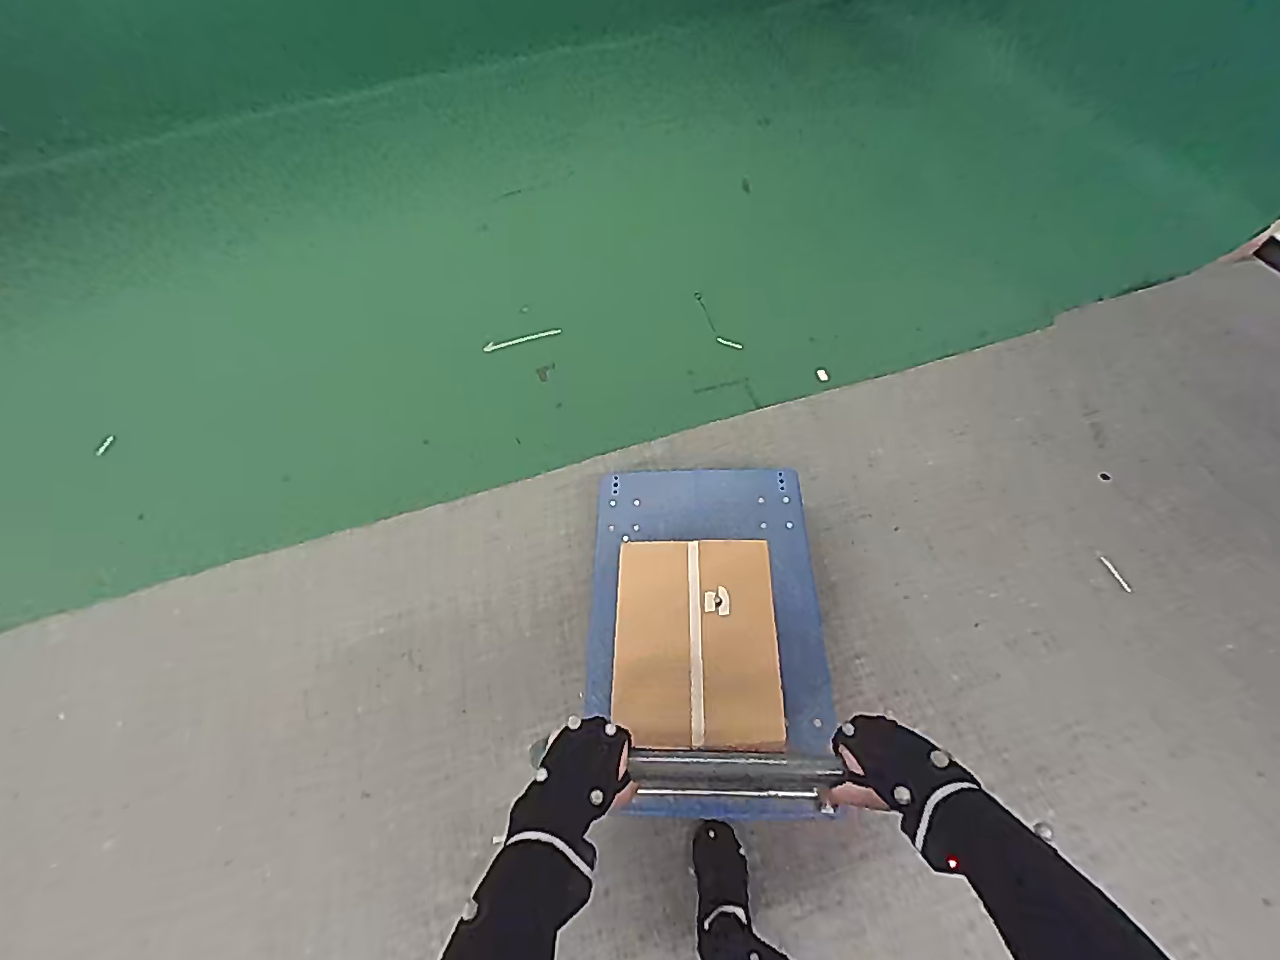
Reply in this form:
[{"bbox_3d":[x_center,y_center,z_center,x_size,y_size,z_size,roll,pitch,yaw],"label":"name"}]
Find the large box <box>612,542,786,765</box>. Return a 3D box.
[{"bbox_3d":[0.118,0.386,1.181,0.320,0.320,0.408,-1,57,4],"label":"large box"}]
